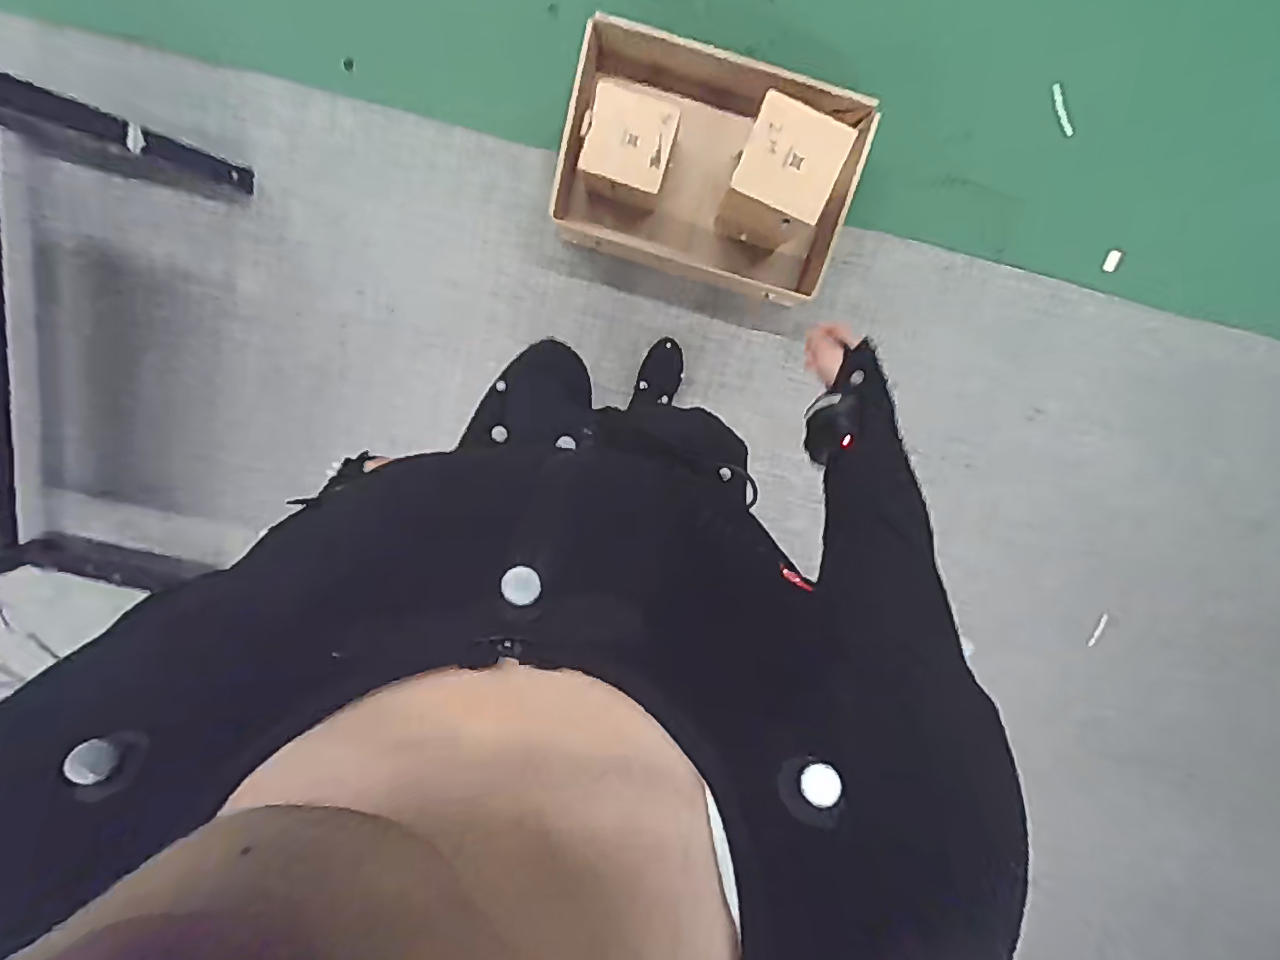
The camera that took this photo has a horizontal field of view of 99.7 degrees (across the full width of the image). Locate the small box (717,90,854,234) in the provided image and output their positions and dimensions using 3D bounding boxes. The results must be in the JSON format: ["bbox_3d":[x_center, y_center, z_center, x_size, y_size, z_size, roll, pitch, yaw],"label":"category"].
[{"bbox_3d":[0.264,-0.585,1.025,0.179,0.176,0.168,23,105,-5],"label":"small box"}]

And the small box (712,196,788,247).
[{"bbox_3d":[0.267,-0.635,1.182,0.168,0.176,0.179,22,107,-5],"label":"small box"}]
